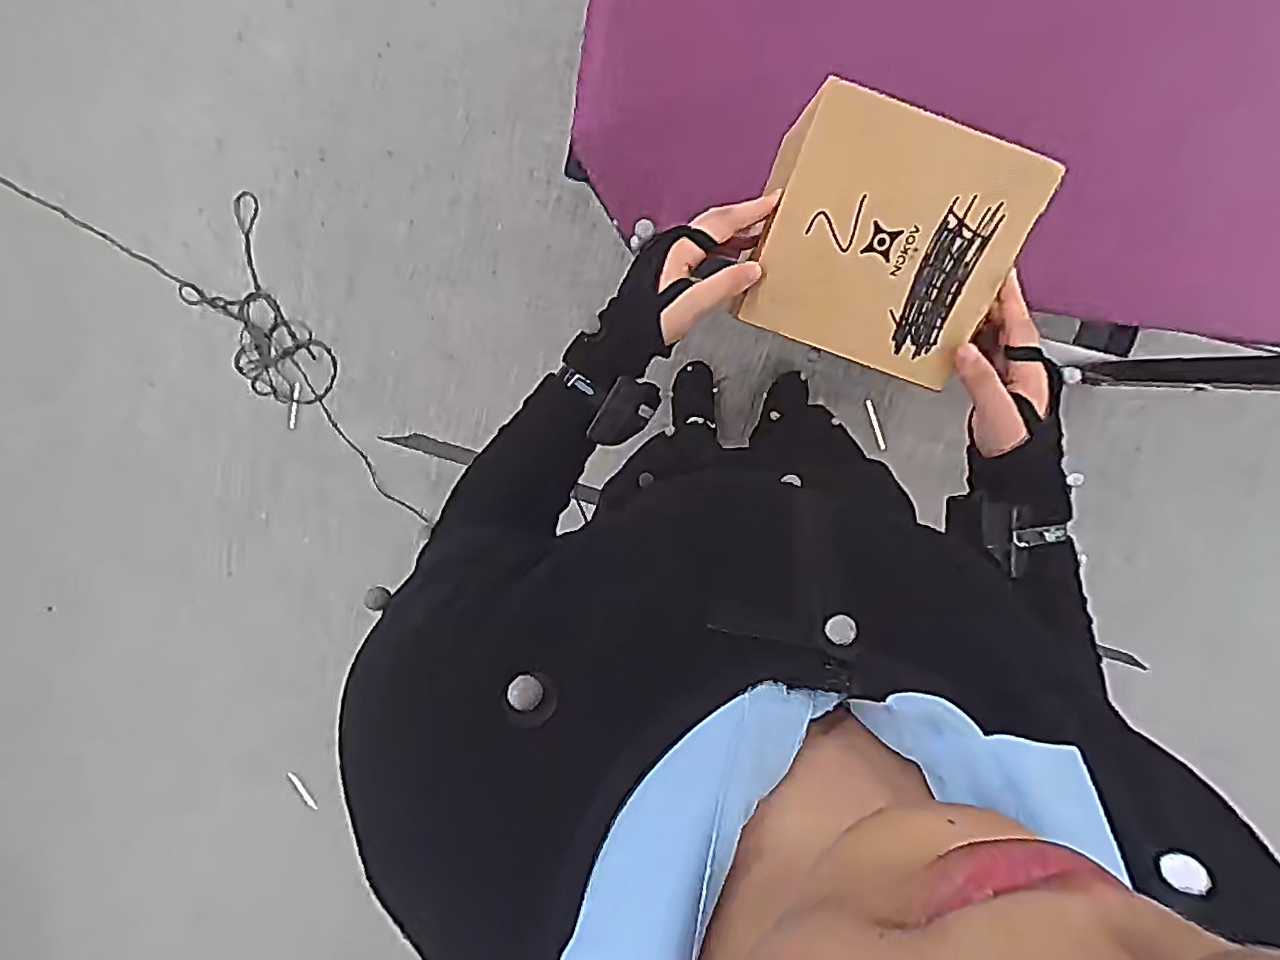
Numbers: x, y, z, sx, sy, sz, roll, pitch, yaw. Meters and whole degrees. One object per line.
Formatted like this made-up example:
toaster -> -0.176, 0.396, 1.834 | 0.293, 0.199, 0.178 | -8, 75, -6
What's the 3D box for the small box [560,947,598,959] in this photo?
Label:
small box -> -0.214, 1.729, 1.809 | 0.168, 0.176, 0.179 | 19, 103, 2
